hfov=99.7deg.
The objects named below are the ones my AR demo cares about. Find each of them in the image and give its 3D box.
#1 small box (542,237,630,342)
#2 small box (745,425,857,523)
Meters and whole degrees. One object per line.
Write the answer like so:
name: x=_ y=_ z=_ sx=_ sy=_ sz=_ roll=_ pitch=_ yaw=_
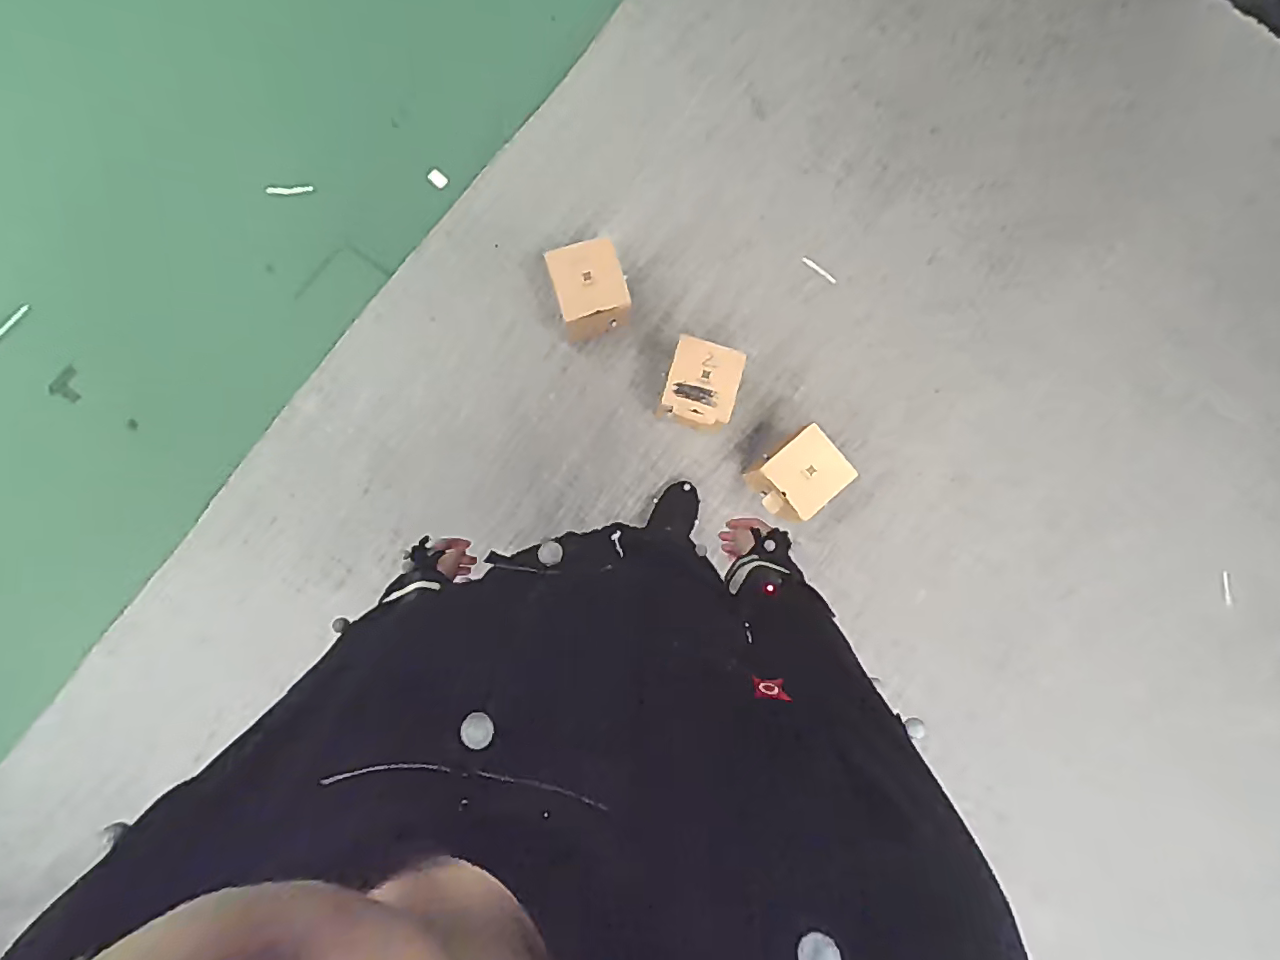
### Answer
small box: x=-0.129 y=-0.456 z=1.329 sx=0.168 sy=0.176 sz=0.179 roll=-18 pitch=86 yaw=-6
small box: x=0.387 y=-0.011 z=1.333 sx=0.179 sy=0.176 sz=0.168 roll=-41 pitch=90 yaw=-5
